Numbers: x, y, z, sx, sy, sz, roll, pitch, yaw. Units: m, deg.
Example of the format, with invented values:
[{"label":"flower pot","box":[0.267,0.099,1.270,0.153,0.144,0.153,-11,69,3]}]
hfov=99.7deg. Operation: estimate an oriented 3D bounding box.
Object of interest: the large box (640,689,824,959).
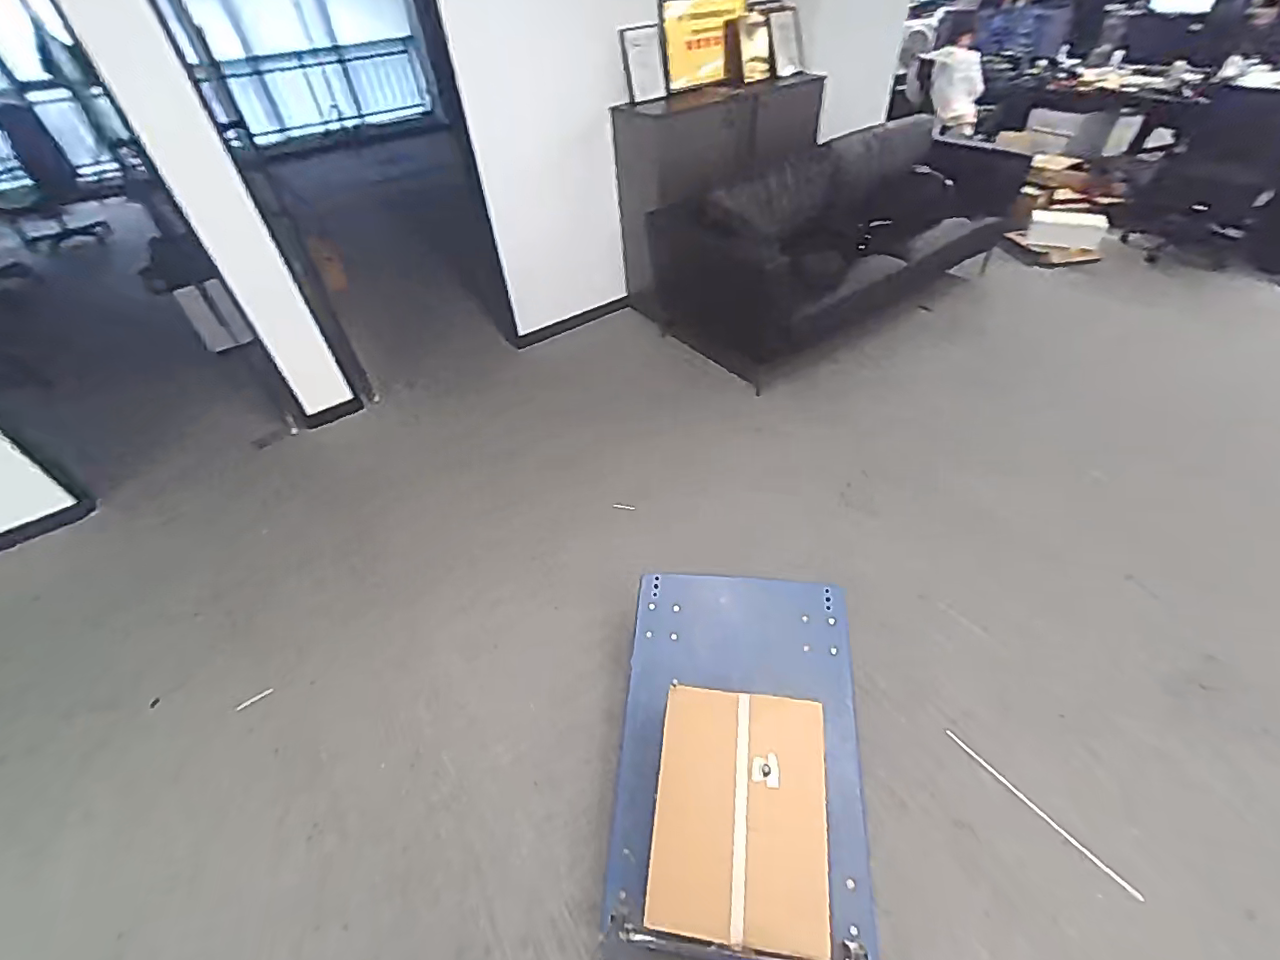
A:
[{"label":"large box","box":[0.192,0.700,1.136,0.320,0.320,0.408,5,57,9]}]
